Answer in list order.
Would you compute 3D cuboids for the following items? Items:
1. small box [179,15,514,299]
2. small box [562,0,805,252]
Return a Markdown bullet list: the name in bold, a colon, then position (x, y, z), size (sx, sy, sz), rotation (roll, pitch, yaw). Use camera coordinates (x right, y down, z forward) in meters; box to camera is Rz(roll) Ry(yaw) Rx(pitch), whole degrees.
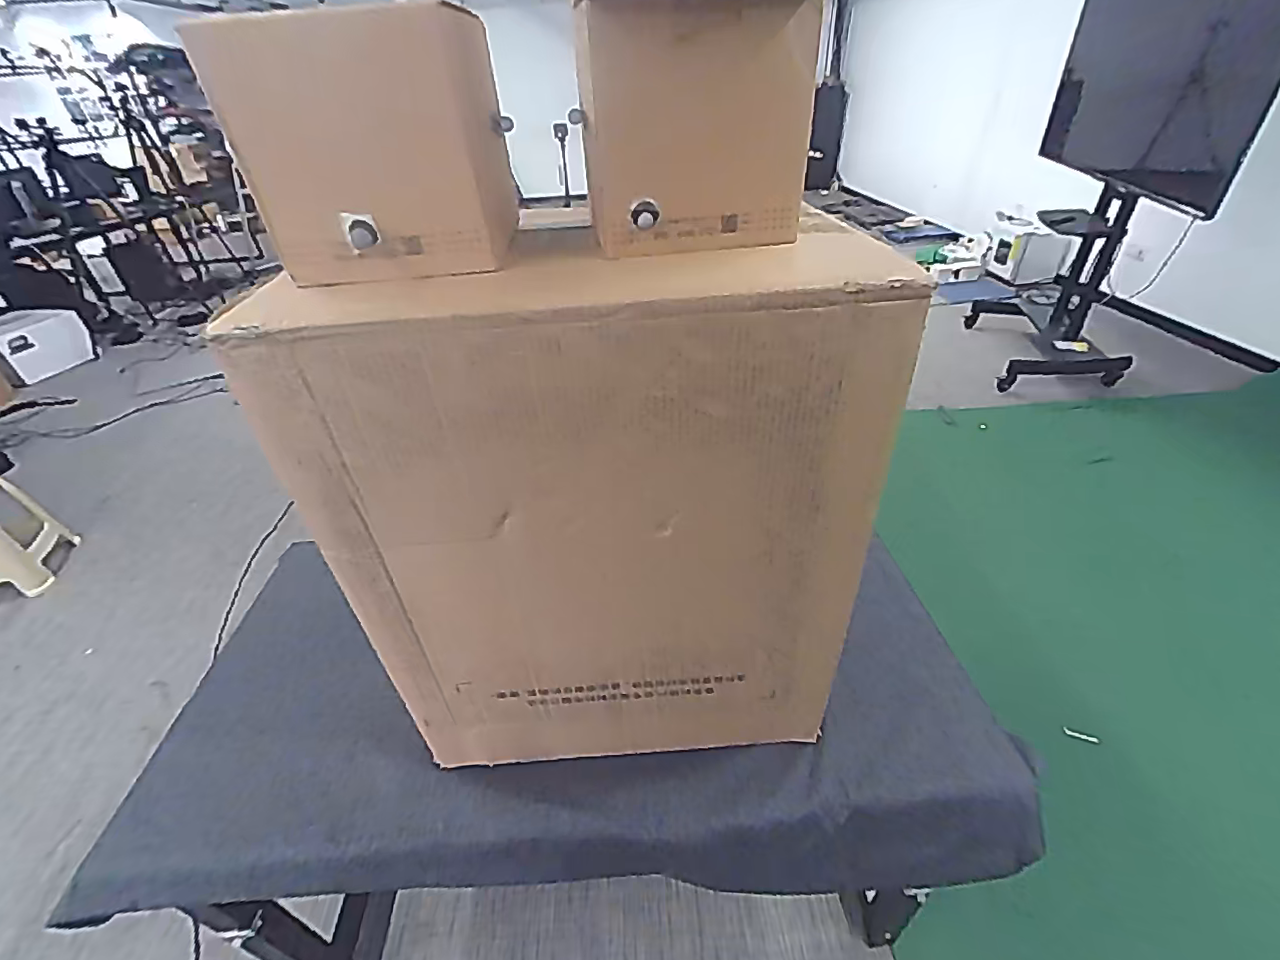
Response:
- **small box**: position (-0.209, -0.268, 0.453), size (0.168, 0.176, 0.179), rotation (-8, 40, 0)
- **small box**: position (0.029, -0.306, 0.471), size (0.168, 0.176, 0.179), rotation (-9, 37, -5)
